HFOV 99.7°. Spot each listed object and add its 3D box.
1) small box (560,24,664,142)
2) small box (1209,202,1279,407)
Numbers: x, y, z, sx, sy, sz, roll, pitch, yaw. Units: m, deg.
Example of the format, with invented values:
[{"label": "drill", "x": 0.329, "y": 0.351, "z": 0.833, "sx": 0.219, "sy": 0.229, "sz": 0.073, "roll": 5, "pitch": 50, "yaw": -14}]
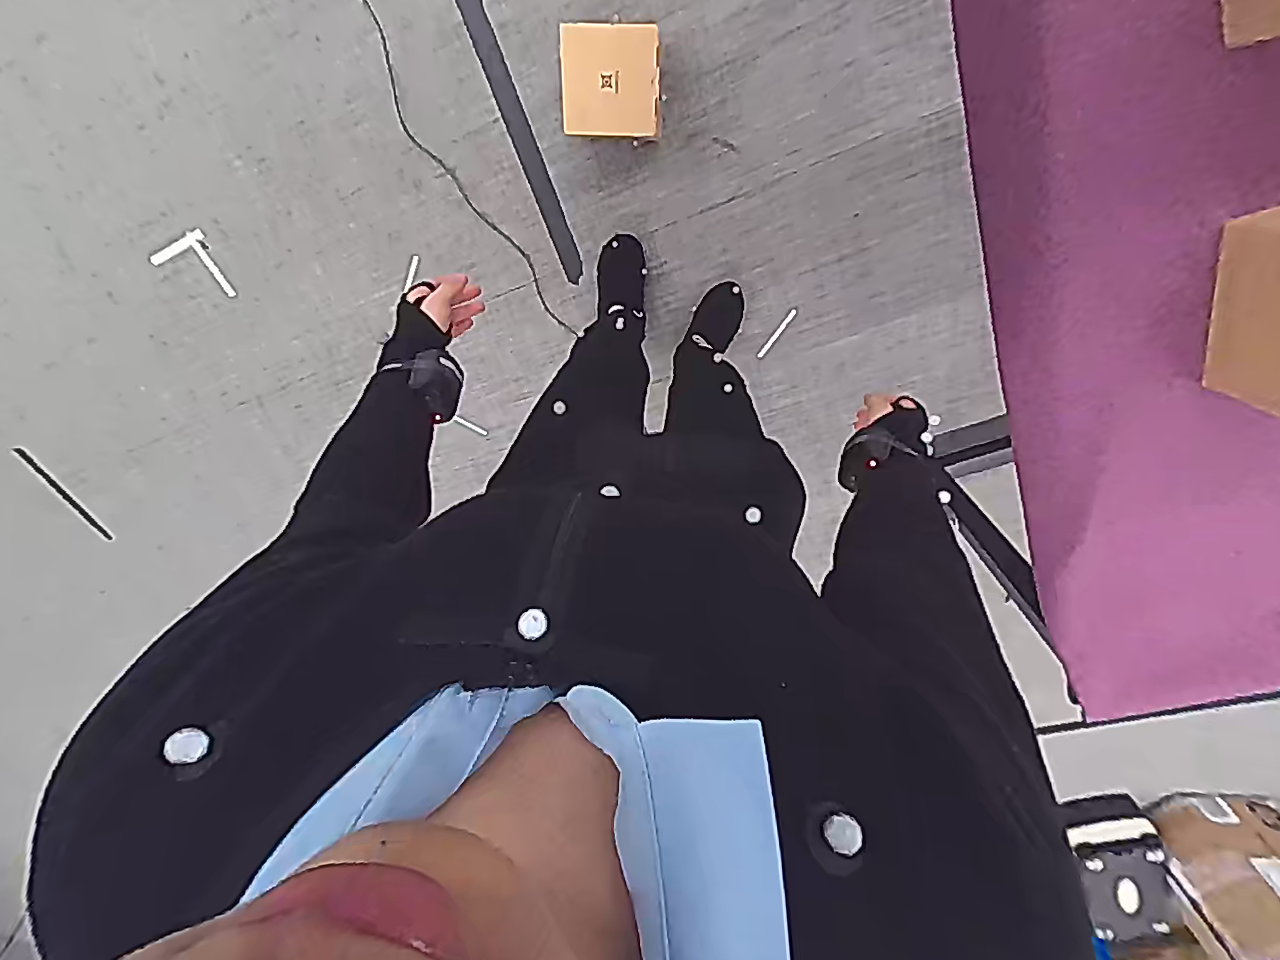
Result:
[{"label": "small box", "x": -0.048, "y": -0.752, "z": 1.039, "sx": 0.179, "sy": 0.176, "sz": 0.168, "roll": 3, "pitch": 120, "yaw": 3}, {"label": "small box", "x": 0.665, "y": -0.160, "z": 0.472, "sx": 0.168, "sy": 0.176, "sz": 0.179, "roll": -16, "pitch": 116, "yaw": 12}]
